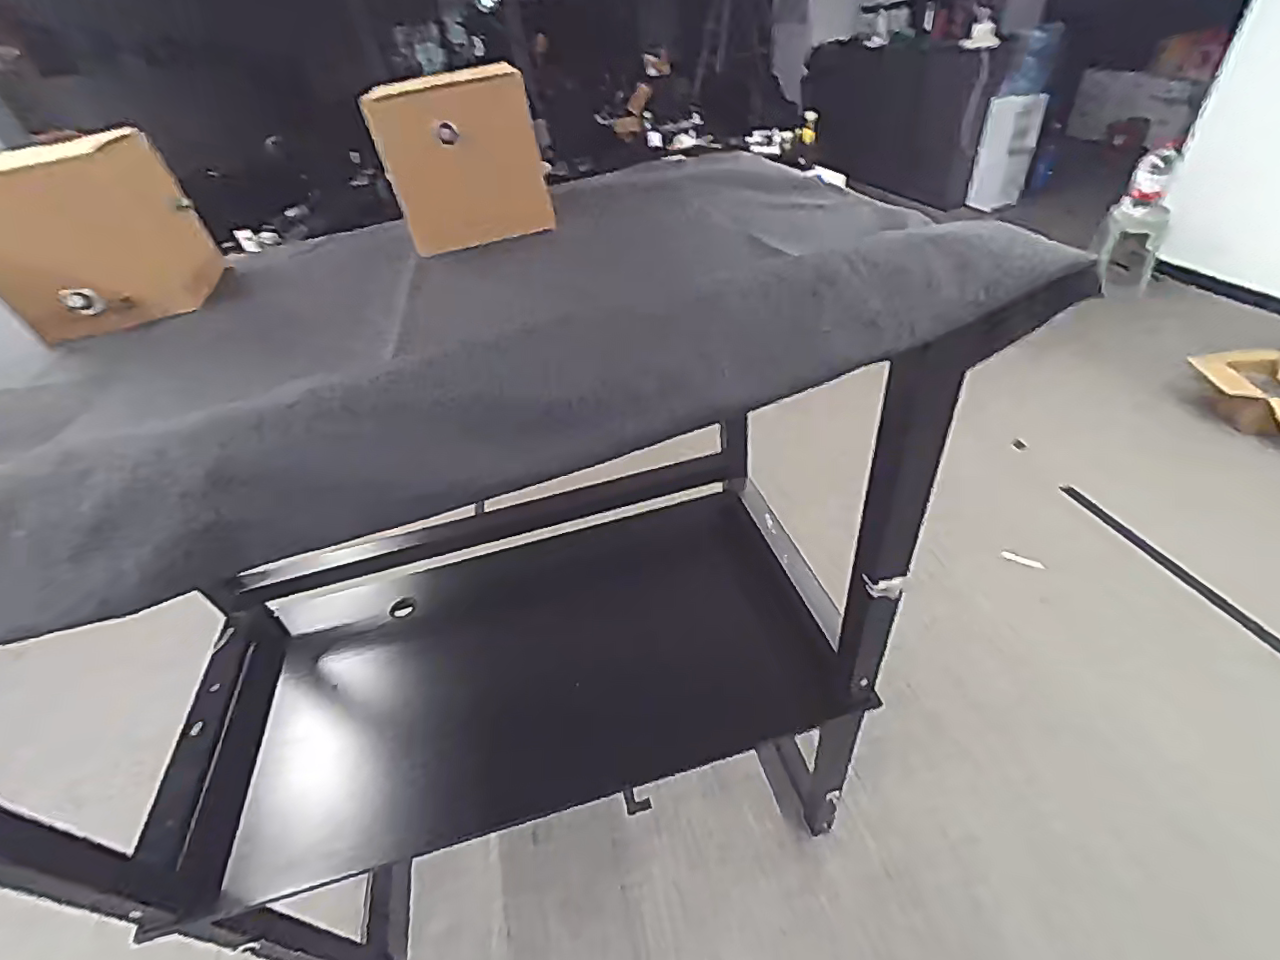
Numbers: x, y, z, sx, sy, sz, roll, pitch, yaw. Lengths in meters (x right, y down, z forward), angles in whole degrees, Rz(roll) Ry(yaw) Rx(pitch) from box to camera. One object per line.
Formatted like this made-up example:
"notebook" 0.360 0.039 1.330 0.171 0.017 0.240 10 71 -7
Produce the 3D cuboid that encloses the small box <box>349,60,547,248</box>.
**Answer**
"small box" -0.232 -0.413 0.687 0.179 0.176 0.168 -16 42 -6

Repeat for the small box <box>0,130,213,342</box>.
"small box" -0.640 -0.282 0.622 0.168 0.176 0.179 -21 42 -11
